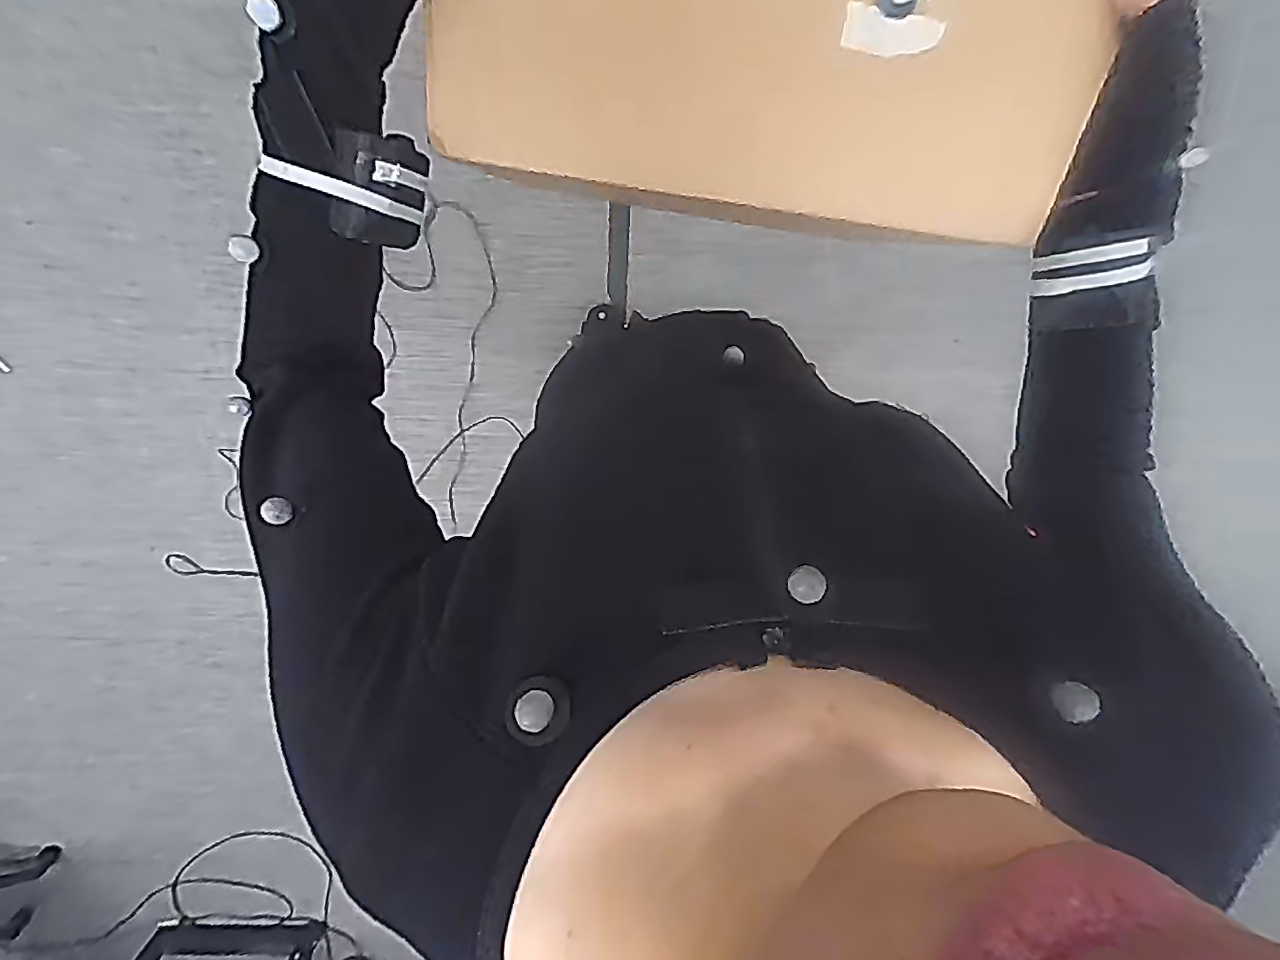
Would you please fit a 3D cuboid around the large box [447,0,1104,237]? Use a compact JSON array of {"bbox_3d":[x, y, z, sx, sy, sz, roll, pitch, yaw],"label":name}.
[{"bbox_3d":[0.085,-0.393,0.445,0.408,0.320,0.320,7,114,-4],"label":"large box"}]
